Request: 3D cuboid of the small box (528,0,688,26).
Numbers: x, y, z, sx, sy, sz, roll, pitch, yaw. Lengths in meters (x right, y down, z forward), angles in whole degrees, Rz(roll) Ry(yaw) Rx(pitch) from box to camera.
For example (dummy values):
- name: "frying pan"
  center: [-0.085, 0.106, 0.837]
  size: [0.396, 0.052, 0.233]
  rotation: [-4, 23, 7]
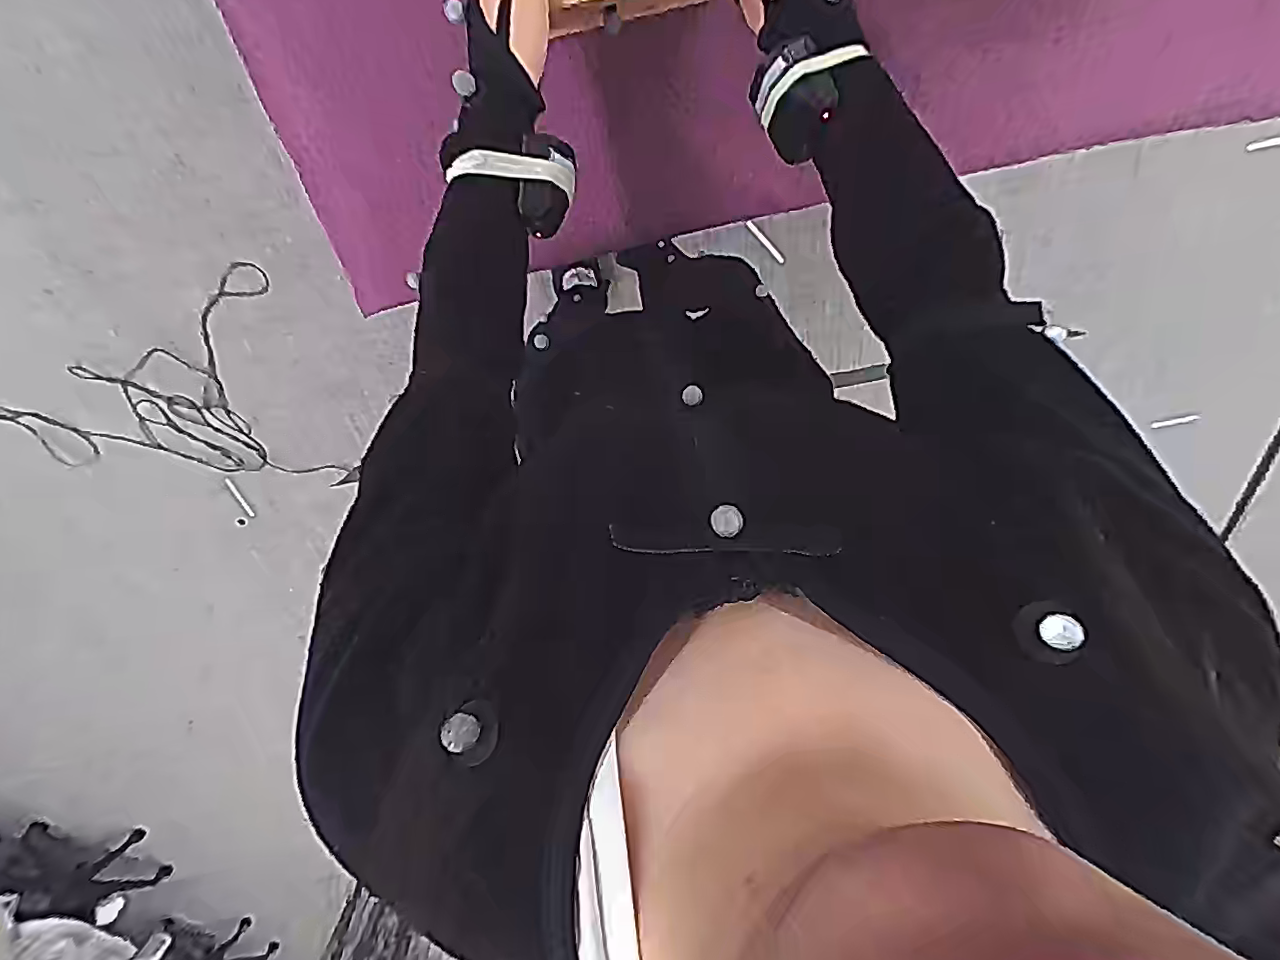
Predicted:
- name: "small box"
  center: [-0.021, -0.465, 0.398]
  size: [0.168, 0.176, 0.179]
  rotation: [-12, 123, 2]
